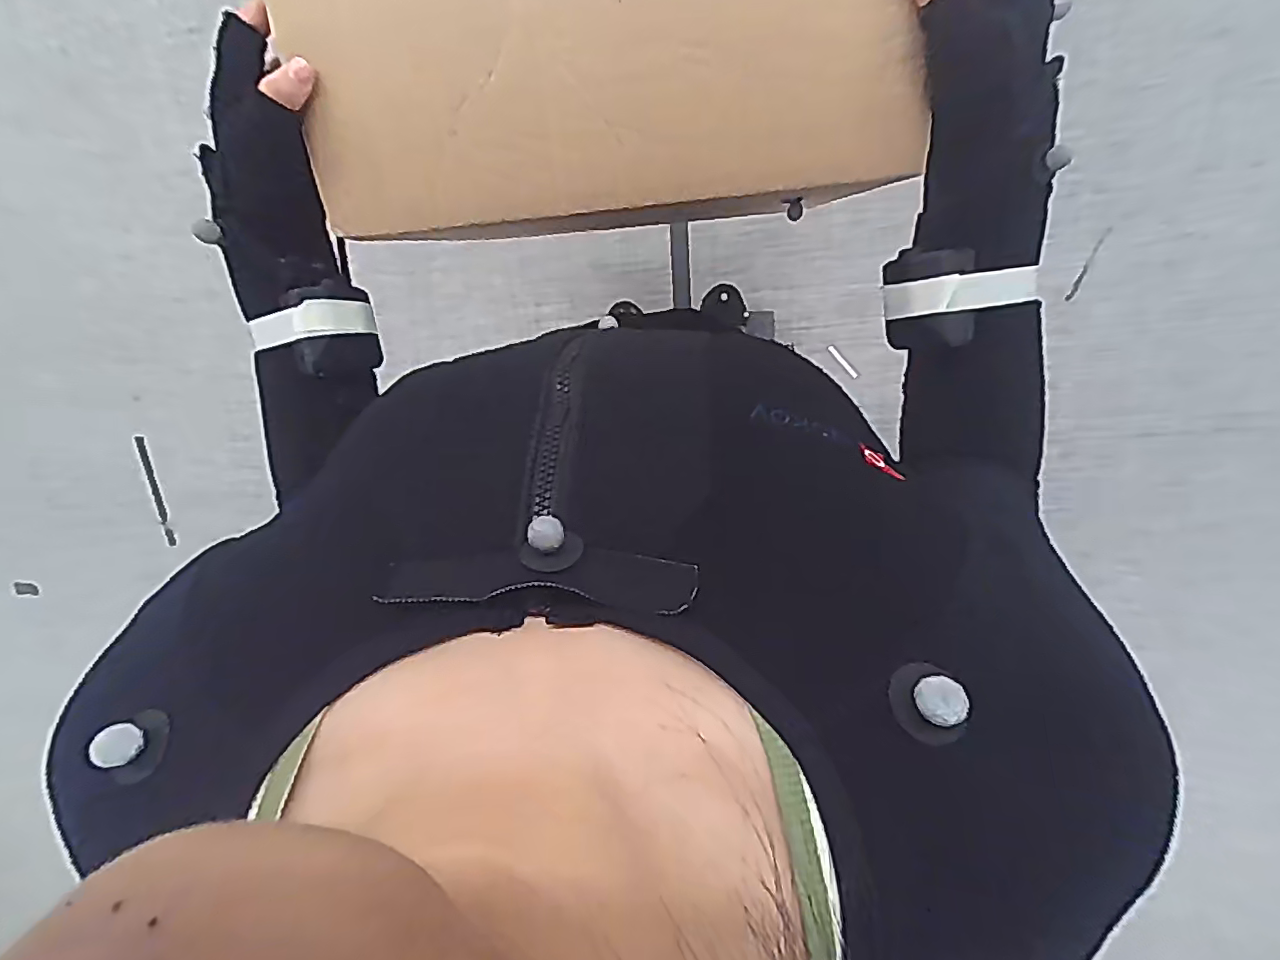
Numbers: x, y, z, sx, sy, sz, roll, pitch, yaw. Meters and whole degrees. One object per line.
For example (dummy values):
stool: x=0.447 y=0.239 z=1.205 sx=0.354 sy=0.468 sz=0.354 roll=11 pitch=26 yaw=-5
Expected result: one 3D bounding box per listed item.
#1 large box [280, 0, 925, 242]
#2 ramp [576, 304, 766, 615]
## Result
large box: x=-0.021 y=-0.389 z=0.453 sx=0.408 sy=0.320 sz=0.320 roll=-3 pitch=113 yaw=5
ramp: x=0.123 y=0.009 z=1.605 sx=0.509 sy=0.206 sz=0.991 roll=-5 pitch=107 yaw=5
